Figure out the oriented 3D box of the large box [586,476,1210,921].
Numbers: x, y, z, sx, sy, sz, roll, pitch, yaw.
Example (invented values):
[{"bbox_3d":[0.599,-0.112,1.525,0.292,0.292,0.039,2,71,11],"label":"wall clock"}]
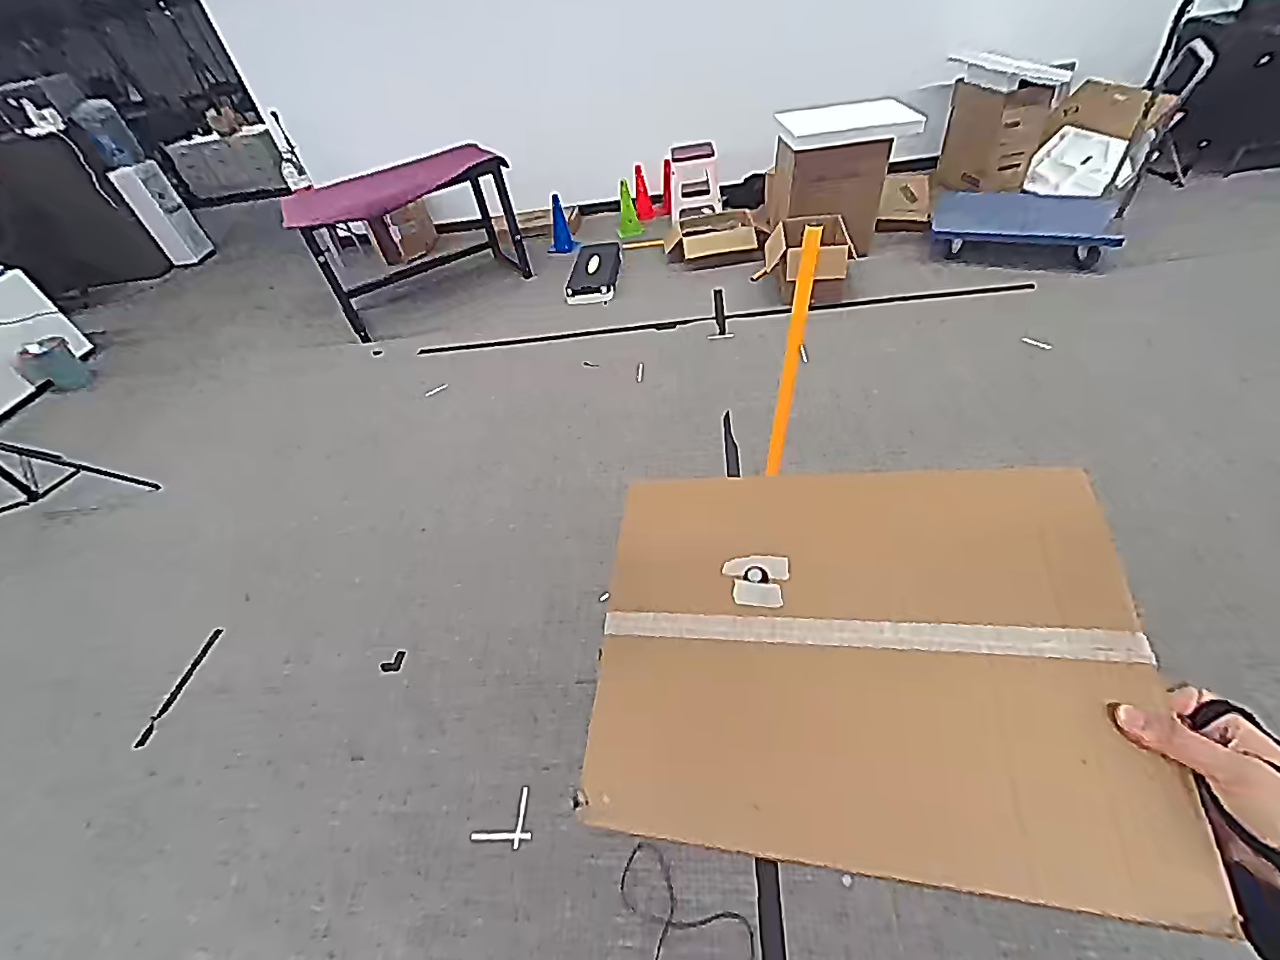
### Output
[{"bbox_3d":[0.206,0.217,0.566,0.408,0.320,0.320,-3,56,19],"label":"large box"}]
